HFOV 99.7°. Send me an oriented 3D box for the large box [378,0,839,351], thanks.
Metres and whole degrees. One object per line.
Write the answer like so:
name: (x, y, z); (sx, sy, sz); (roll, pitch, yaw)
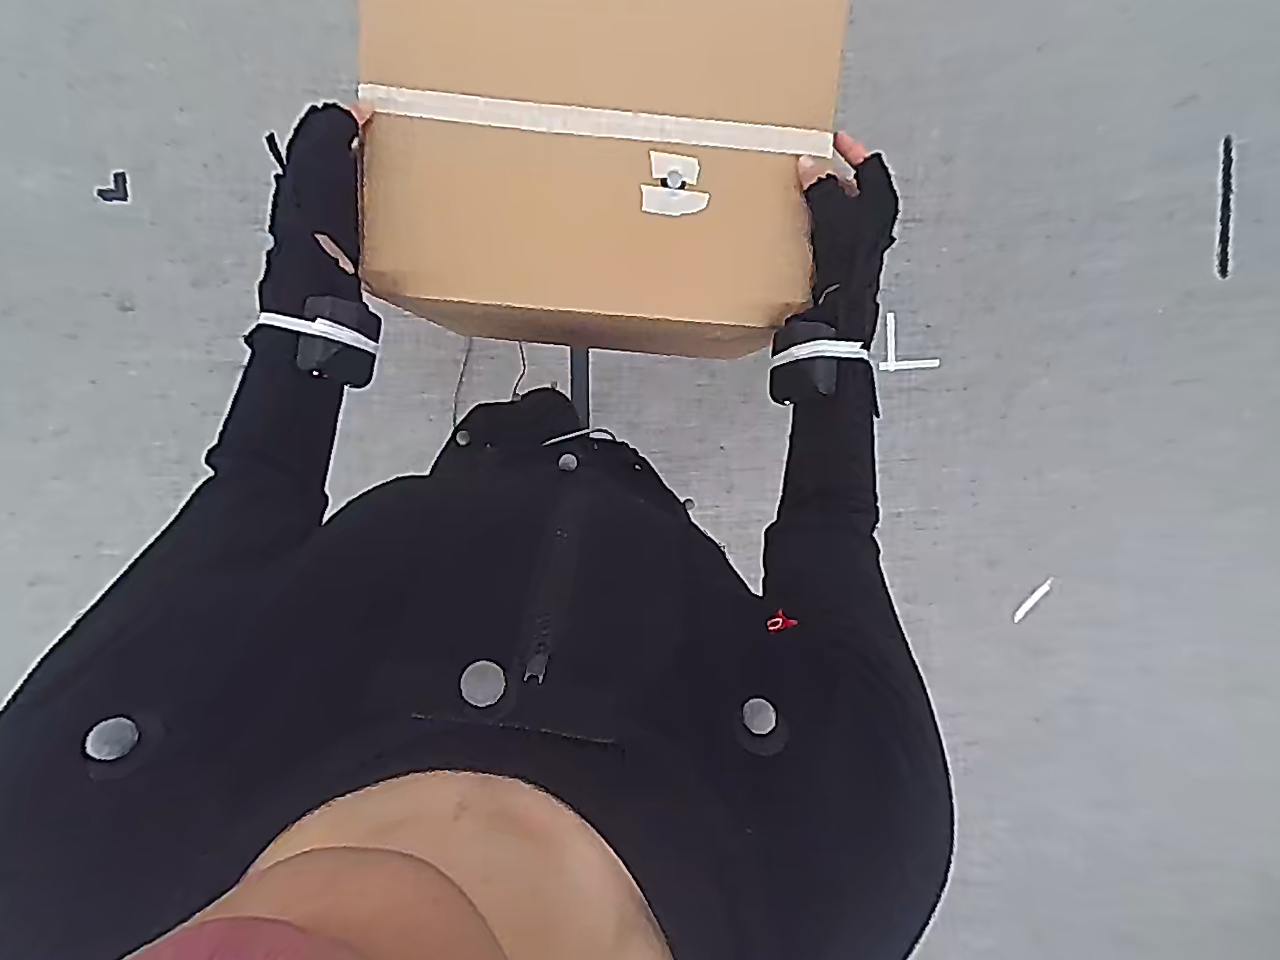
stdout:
large box: (-0.039, -0.333, 0.627); (0.408, 0.320, 0.320); (4, 99, -4)
